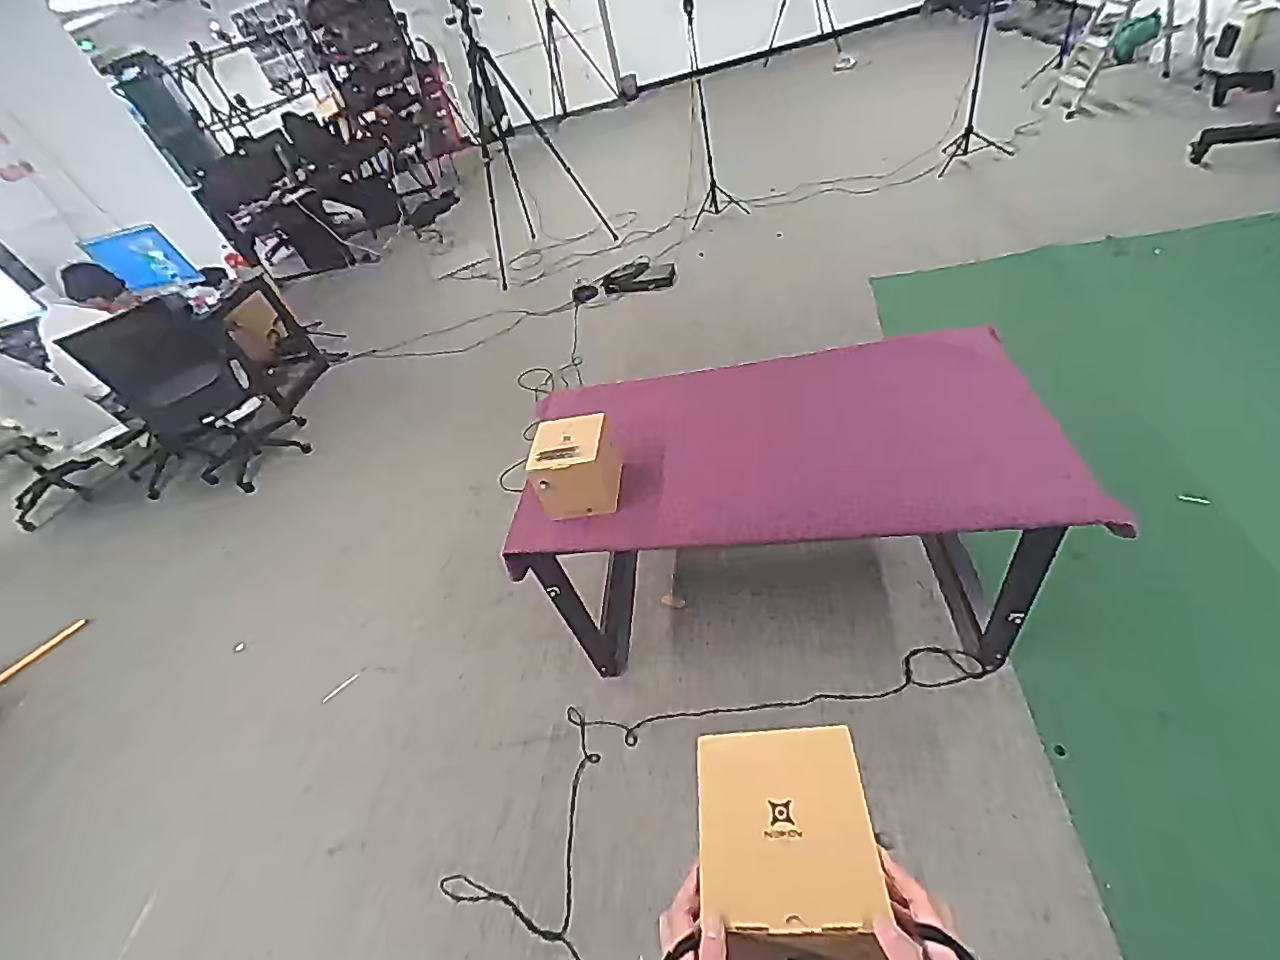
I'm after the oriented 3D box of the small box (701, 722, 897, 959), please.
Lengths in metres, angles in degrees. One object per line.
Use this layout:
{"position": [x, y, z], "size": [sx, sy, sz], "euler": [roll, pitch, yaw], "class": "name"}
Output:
{"position": [0.160, 0.386, 0.576], "size": [0.168, 0.176, 0.179], "euler": [-10, 38, 12], "class": "small box"}
